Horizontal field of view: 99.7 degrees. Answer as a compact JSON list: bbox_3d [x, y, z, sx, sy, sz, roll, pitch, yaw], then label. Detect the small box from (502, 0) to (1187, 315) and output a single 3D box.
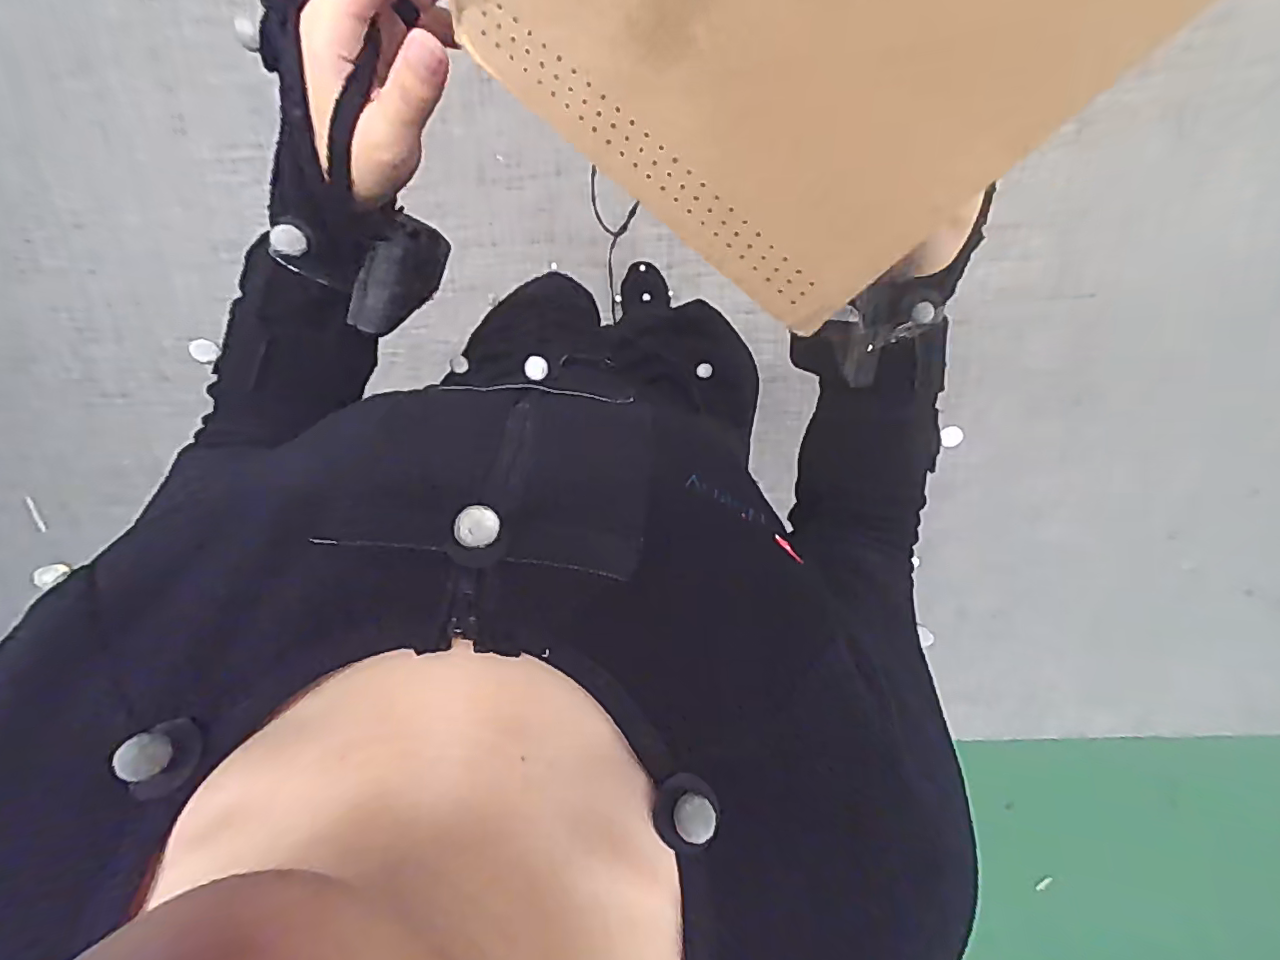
[{"bbox_3d":[0.069,-0.188,0.168,0.179,0.176,0.168,37,74,-3],"label":"small box"}]
